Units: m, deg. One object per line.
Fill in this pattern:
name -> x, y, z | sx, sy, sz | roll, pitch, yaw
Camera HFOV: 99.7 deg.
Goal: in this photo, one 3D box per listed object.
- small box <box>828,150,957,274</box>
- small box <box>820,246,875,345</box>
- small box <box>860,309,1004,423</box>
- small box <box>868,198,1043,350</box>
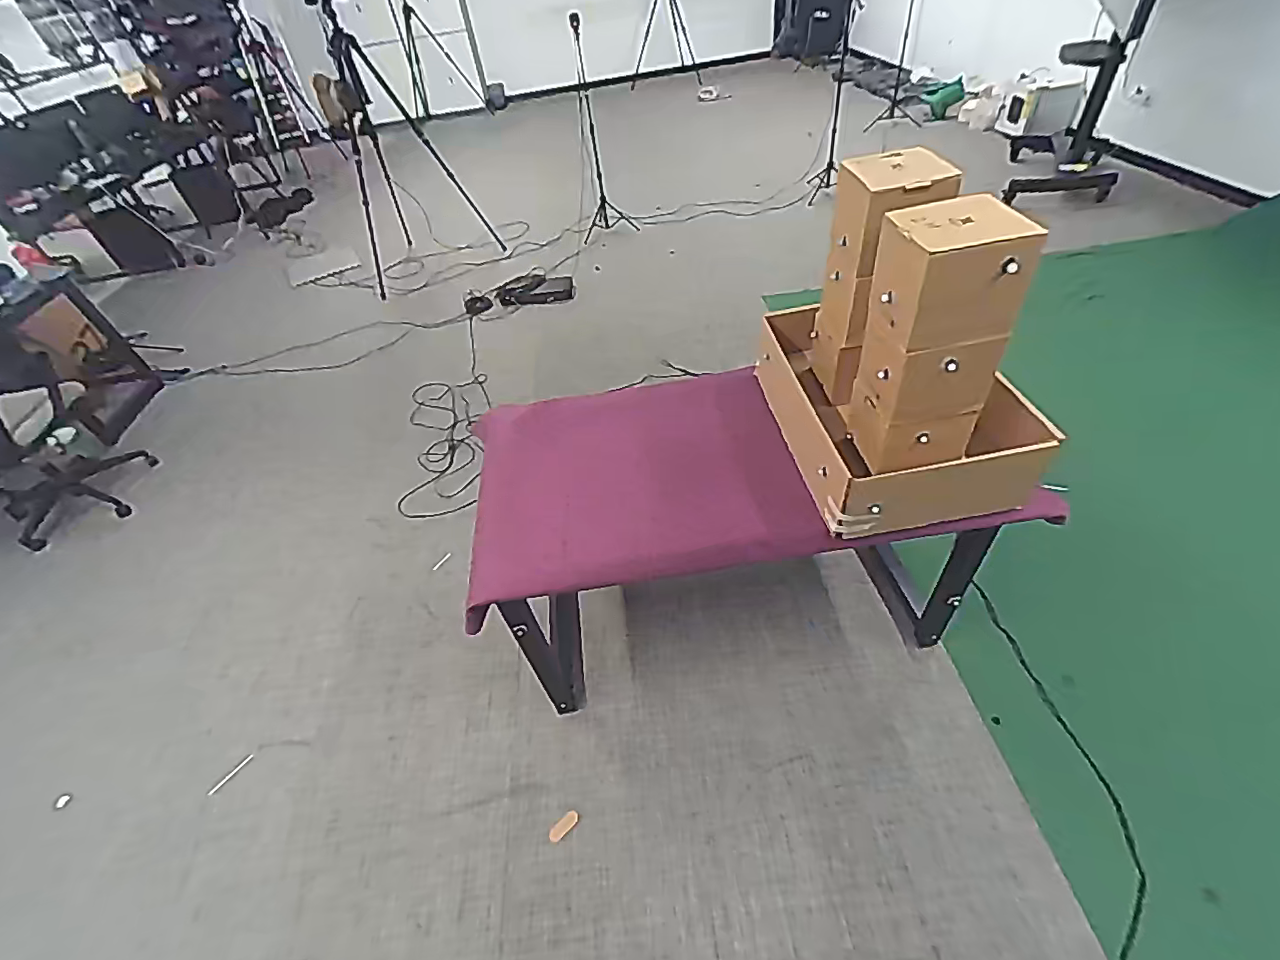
small box -> 0.492, -0.527, 1.081 | 0.168, 0.176, 0.179 | -8, 47, 1
small box -> 0.511, -0.414, 1.199 | 0.168, 0.176, 0.179 | -9, 46, 2
small box -> 0.527, -0.223, 1.011 | 0.179, 0.176, 0.168 | -8, 46, 3
small box -> 0.504, -0.339, 0.896 | 0.179, 0.176, 0.168 | -9, 45, 2
